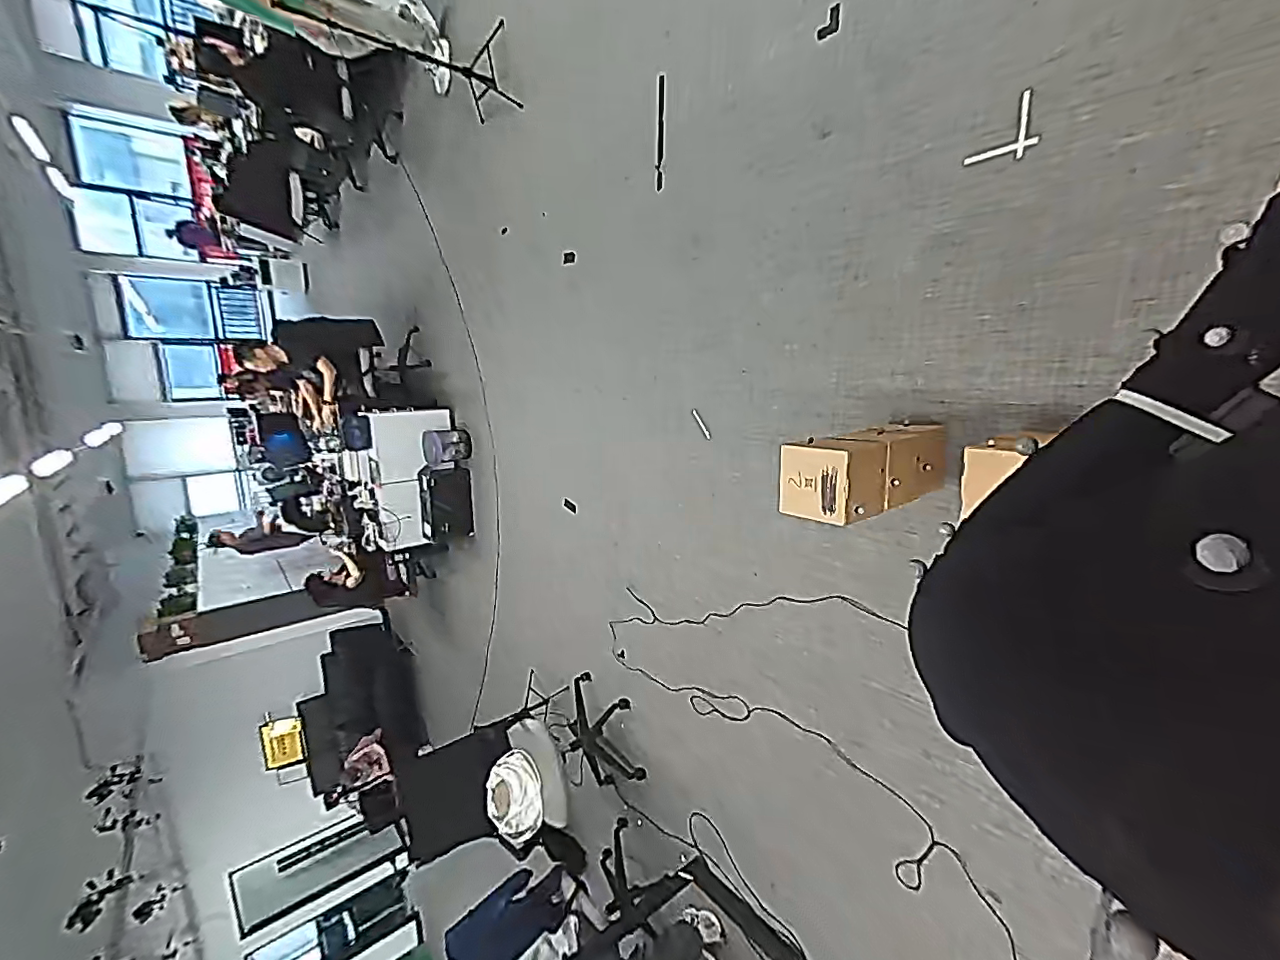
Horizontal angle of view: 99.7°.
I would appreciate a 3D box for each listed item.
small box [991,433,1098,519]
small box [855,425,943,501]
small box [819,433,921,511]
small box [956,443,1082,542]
[{"bbox_3d":[0.905,-0.006,1.226,0.168,0.176,0.179,16,109,48],"label":"small box"},{"bbox_3d":[0.701,-0.052,1.469,0.168,0.176,0.179,11,106,50],"label":"small box"},{"bbox_3d":[0.578,-0.027,1.363,0.179,0.176,0.168,11,107,51],"label":"small box"},{"bbox_3d":[0.785,0.017,1.119,0.179,0.176,0.168,10,106,50],"label":"small box"}]
